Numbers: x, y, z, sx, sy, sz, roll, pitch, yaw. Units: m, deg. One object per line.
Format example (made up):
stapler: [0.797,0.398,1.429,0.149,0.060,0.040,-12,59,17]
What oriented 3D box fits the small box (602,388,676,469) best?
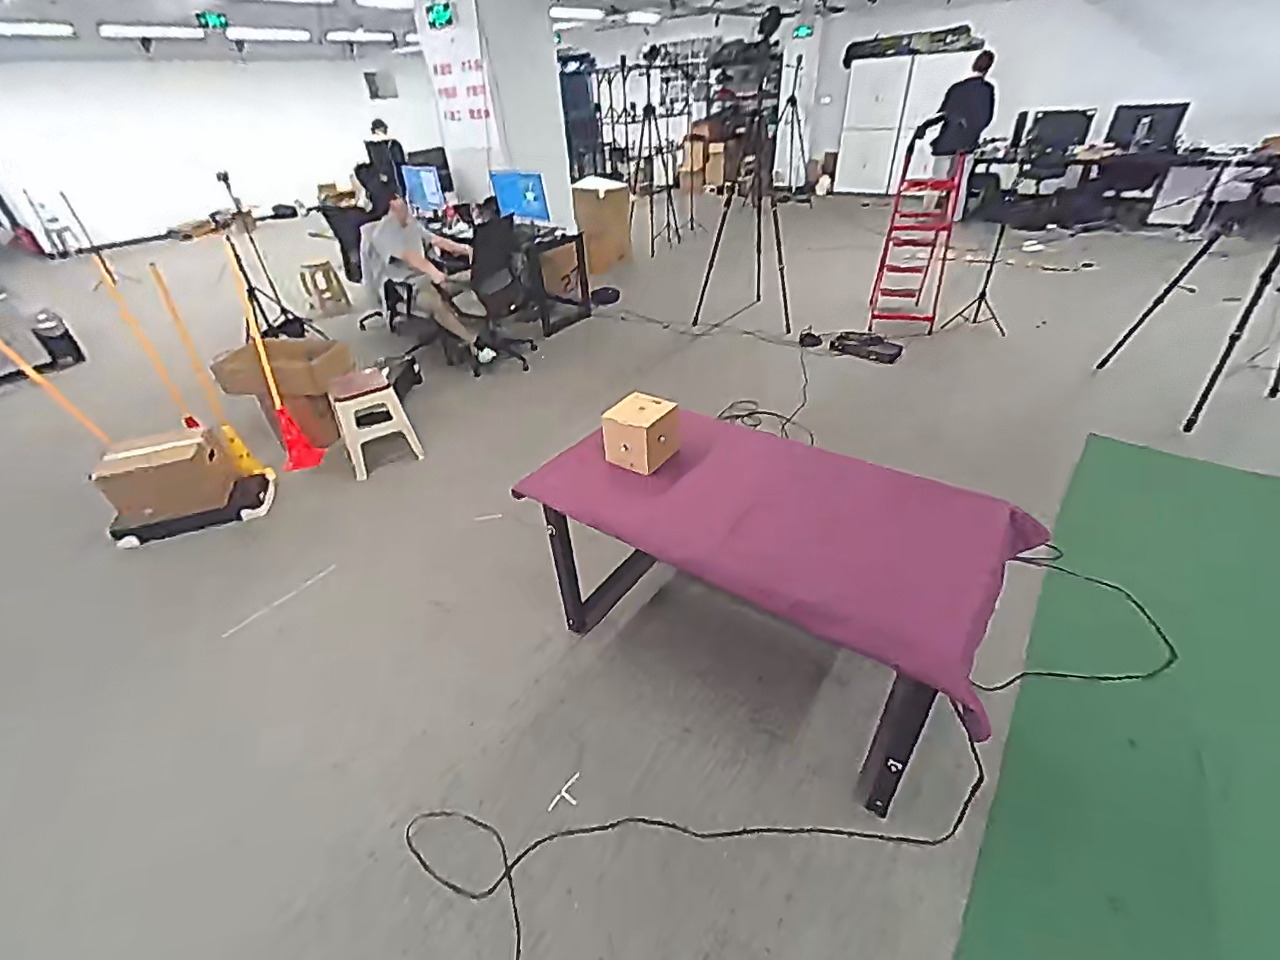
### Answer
small box: [0.005,-0.157,1.671,0.168,0.176,0.179,21,44,29]
